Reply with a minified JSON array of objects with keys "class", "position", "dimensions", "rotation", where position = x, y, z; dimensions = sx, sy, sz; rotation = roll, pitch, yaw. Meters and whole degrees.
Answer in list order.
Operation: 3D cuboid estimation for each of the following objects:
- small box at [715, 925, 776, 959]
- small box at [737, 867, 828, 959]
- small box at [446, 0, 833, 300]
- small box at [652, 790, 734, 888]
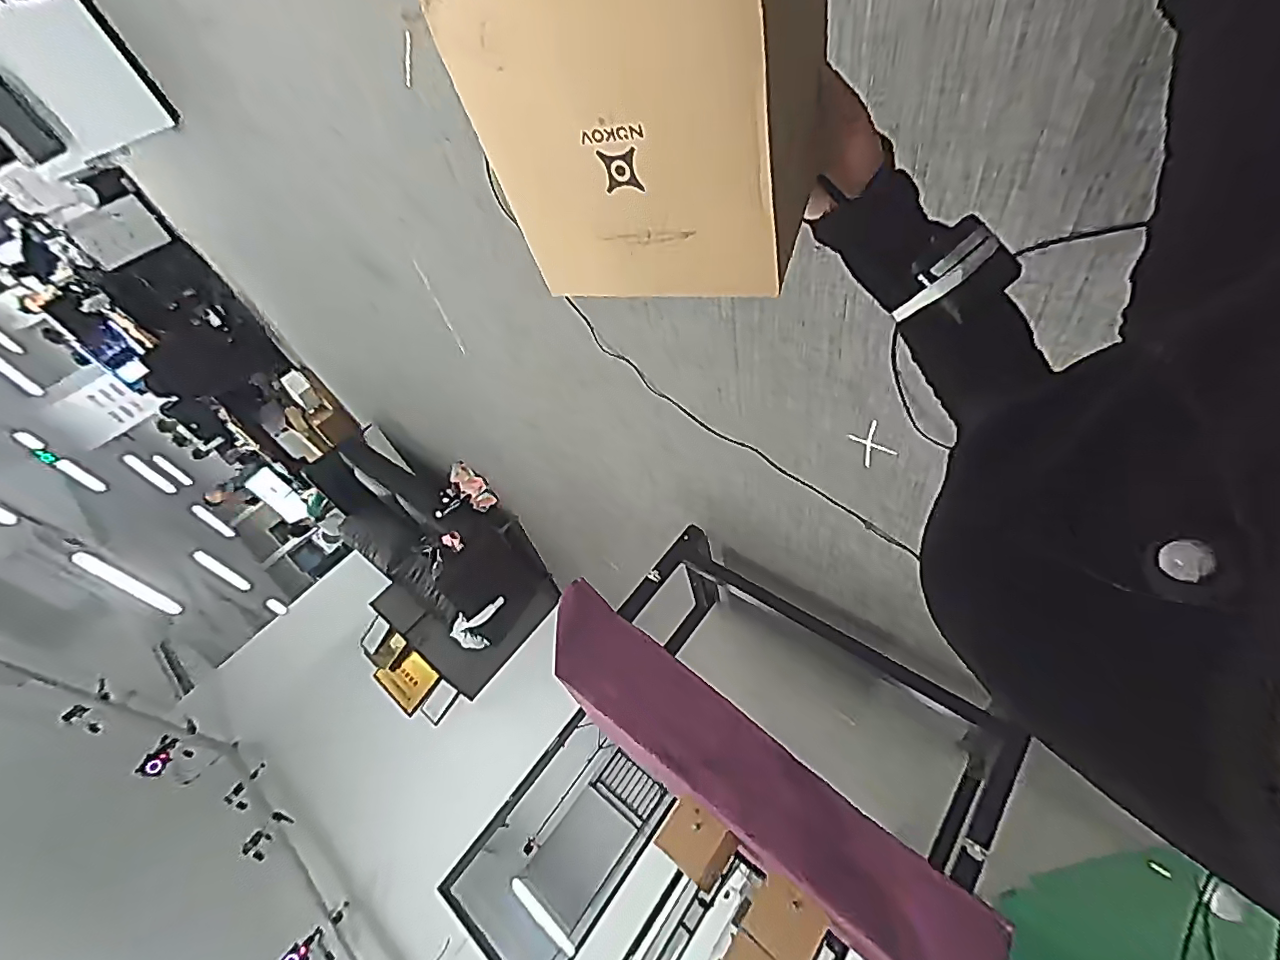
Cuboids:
[{"class":"small box","position":[0.288,1.310,1.417],"dimensions":[0.179,0.176,0.168],"rotation":[25,150,33]},{"class":"small box","position":[0.391,1.201,1.484],"dimensions":[0.179,0.176,0.168],"rotation":[26,151,34]},{"class":"small box","position":[0.022,-0.240,0.341],"dimensions":[0.168,0.176,0.179],"rotation":[10,150,22]},{"class":"small box","position":[0.168,1.092,1.651],"dimensions":[0.168,0.176,0.179],"rotation":[22,148,38]}]
